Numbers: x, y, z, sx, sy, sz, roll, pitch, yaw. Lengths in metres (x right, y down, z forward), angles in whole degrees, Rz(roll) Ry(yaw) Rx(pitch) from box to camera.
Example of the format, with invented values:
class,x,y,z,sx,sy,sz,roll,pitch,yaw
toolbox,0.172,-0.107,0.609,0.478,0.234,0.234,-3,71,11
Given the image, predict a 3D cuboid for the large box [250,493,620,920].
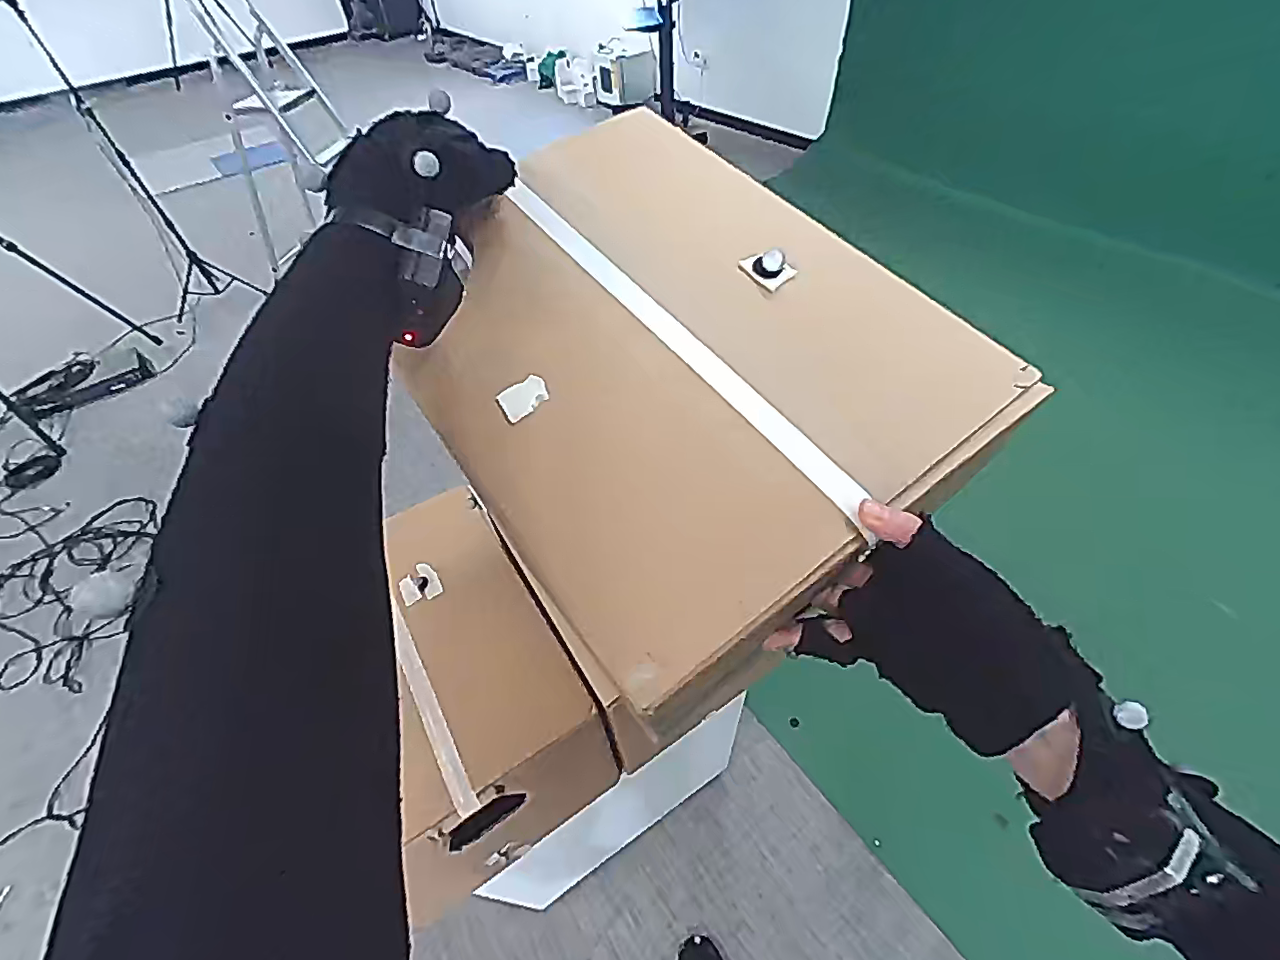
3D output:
class,x,y,z,sx,sy,sz,roll,pitch,yaw
large box,-0.272,0.302,0.766,0.320,0.320,0.408,-28,52,-19
